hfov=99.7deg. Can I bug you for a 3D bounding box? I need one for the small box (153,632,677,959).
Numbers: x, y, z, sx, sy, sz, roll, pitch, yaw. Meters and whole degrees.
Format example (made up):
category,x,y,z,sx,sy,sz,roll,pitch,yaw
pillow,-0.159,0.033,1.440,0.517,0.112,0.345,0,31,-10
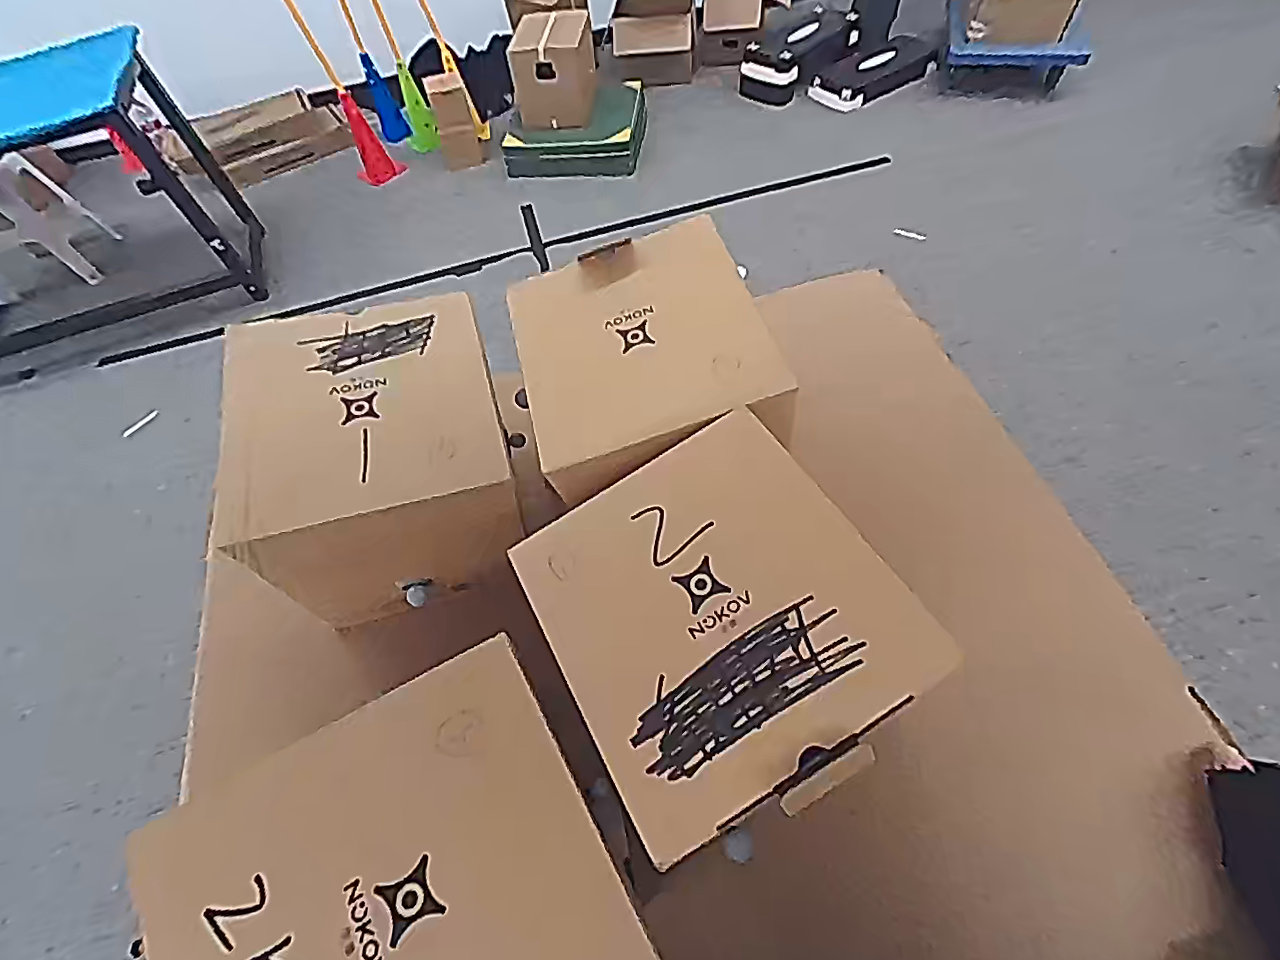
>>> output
category,x,y,z,sx,sy,sz,roll,pitch,yaw
small box,-0.103,0.214,0.298,0.179,0.176,0.168,-26,65,-17
